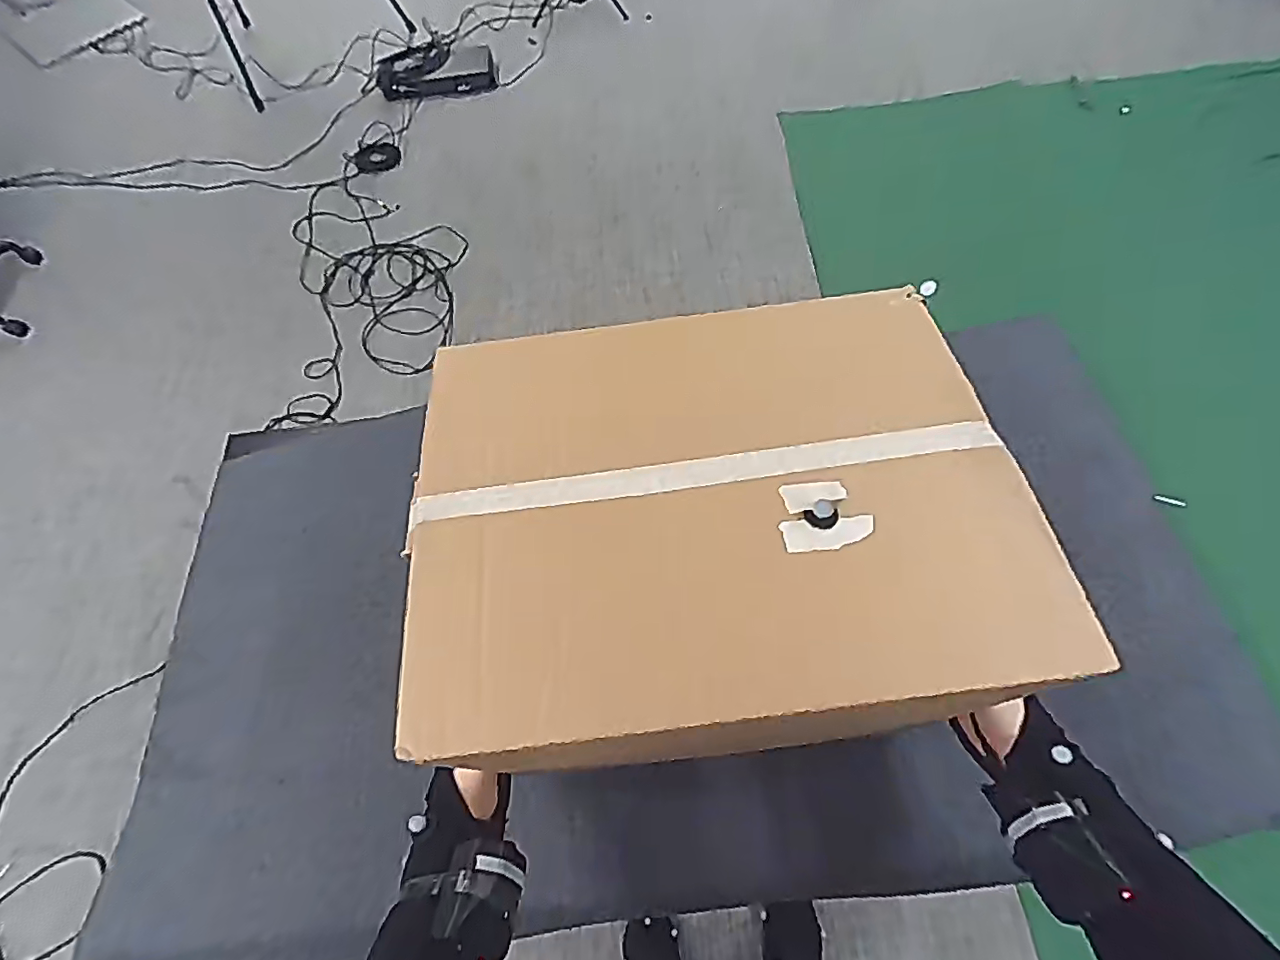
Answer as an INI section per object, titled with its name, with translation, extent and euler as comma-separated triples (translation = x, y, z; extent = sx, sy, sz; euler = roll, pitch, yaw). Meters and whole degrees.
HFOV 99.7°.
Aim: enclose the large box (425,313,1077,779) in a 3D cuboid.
[large box]
translation = 0.057, 0.085, 0.522
extent = 0.408, 0.320, 0.320
euler = -7, 60, 0
